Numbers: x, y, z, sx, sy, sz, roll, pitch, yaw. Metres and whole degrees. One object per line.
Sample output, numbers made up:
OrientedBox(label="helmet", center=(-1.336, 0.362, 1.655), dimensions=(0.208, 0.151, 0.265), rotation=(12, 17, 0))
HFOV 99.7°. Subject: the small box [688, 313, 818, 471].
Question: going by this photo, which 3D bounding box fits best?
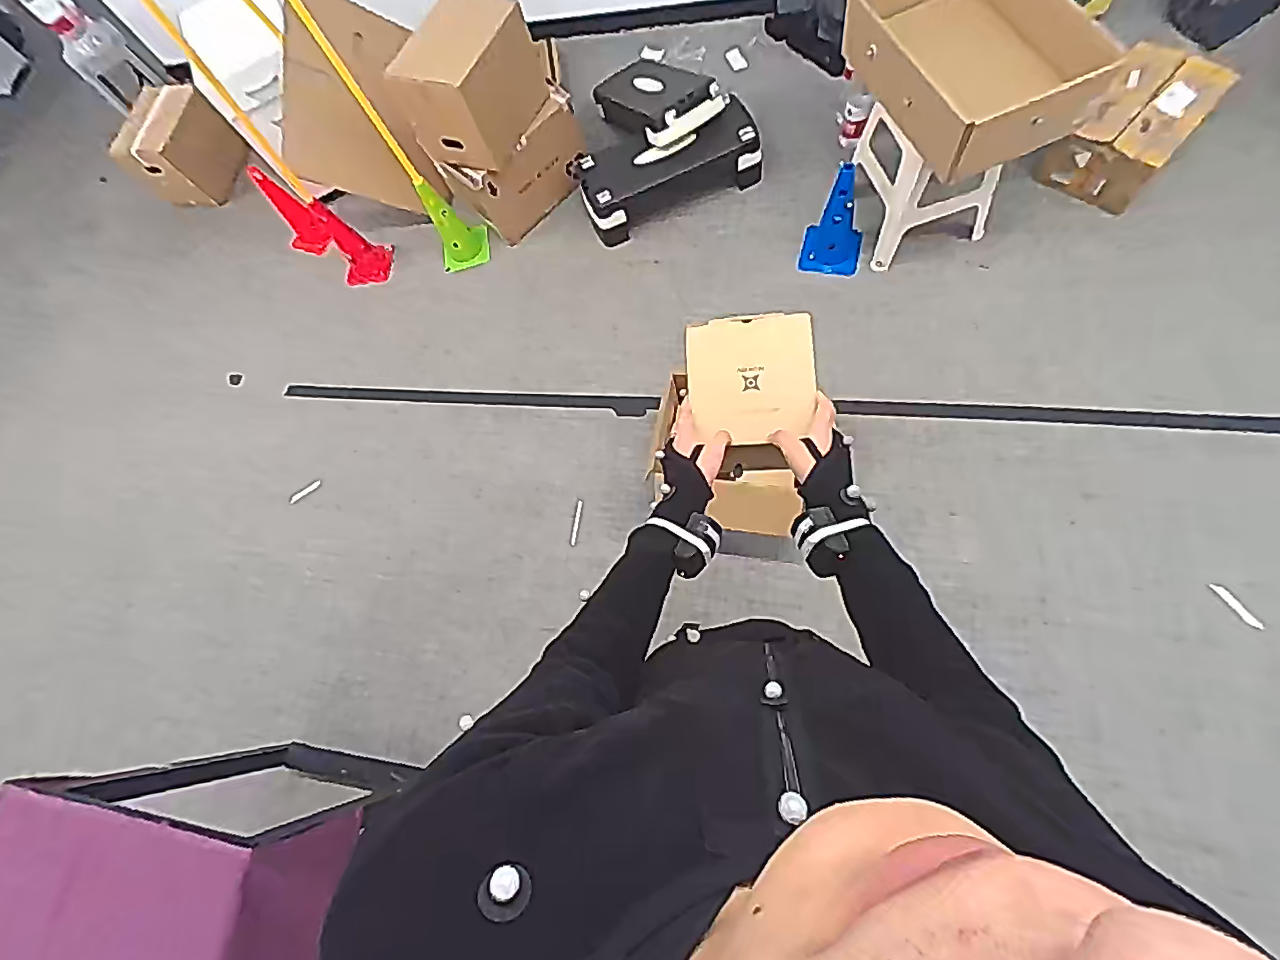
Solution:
OrientedBox(label="small box", center=(0.154, -0.118, 0.786), dimensions=(0.168, 0.176, 0.179), rotation=(-2, 78, 8))
